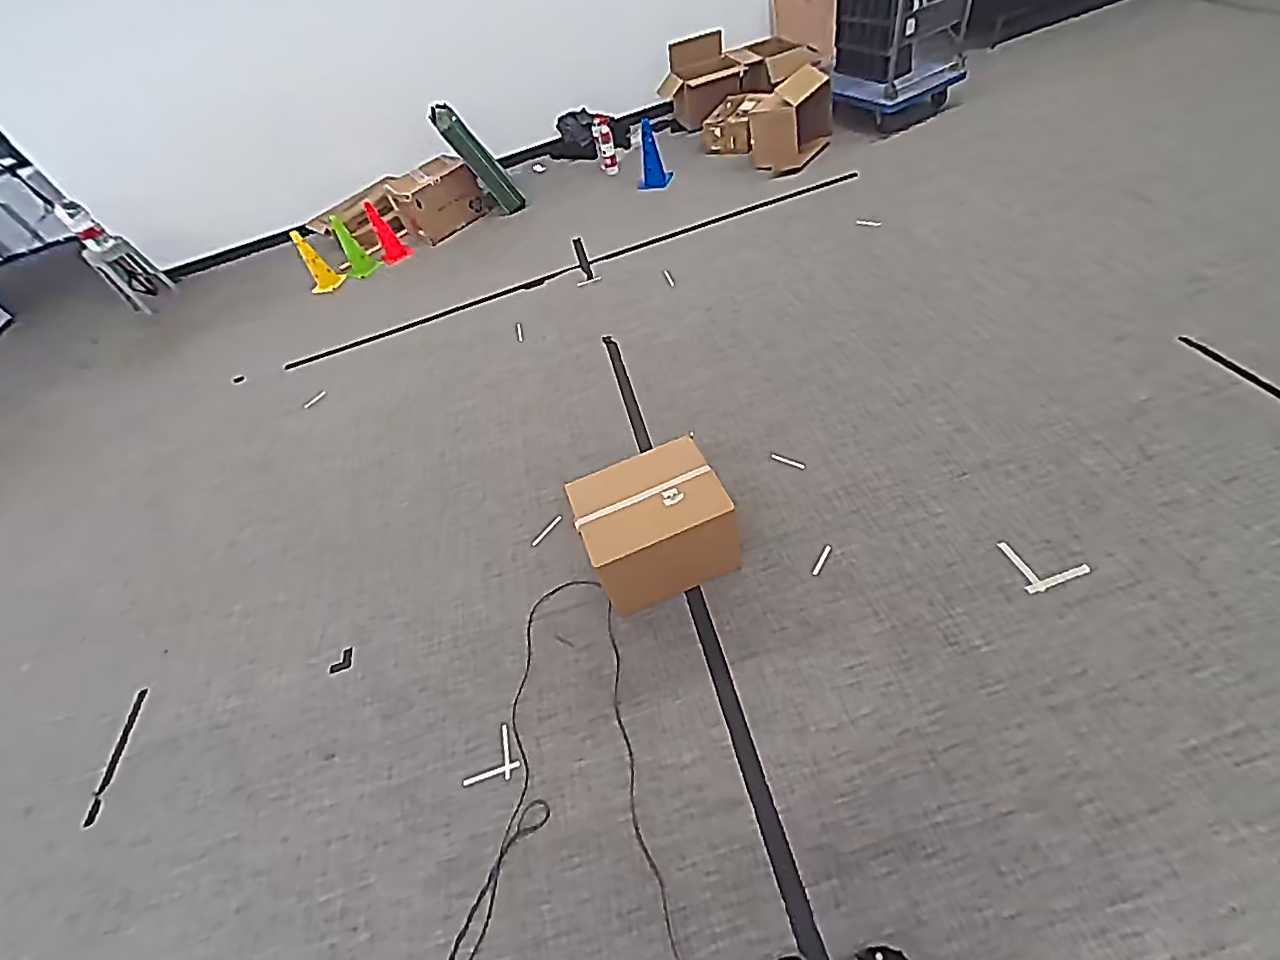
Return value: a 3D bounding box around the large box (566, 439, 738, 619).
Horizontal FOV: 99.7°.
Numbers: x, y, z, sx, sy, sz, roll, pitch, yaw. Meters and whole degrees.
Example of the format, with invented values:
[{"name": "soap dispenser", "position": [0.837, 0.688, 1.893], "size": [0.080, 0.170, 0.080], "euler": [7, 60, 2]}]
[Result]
[{"name": "large box", "position": [0.041, 0.147, 1.609], "size": [0.408, 0.320, 0.320], "euler": [-22, 50, -5]}]
